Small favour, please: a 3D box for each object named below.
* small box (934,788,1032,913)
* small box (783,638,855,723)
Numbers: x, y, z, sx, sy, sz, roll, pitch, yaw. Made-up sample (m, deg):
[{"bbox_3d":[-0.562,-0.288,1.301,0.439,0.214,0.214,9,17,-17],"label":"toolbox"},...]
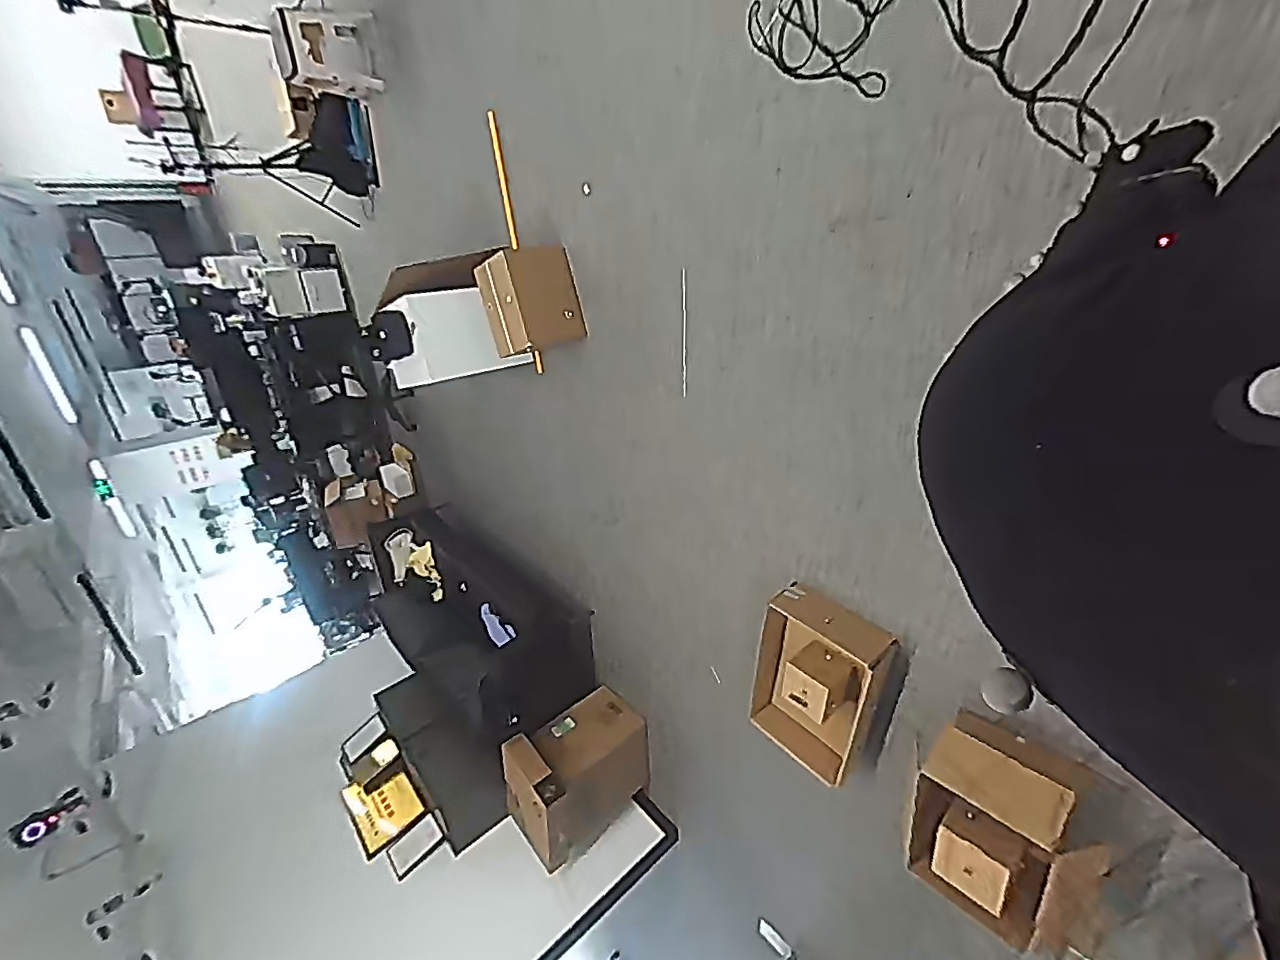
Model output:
[{"bbox_3d":[0.907,0.965,1.428,0.168,0.176,0.179,19,121,47],"label":"small box"},{"bbox_3d":[0.622,0.690,1.874,0.168,0.176,0.179,27,129,42],"label":"small box"}]
